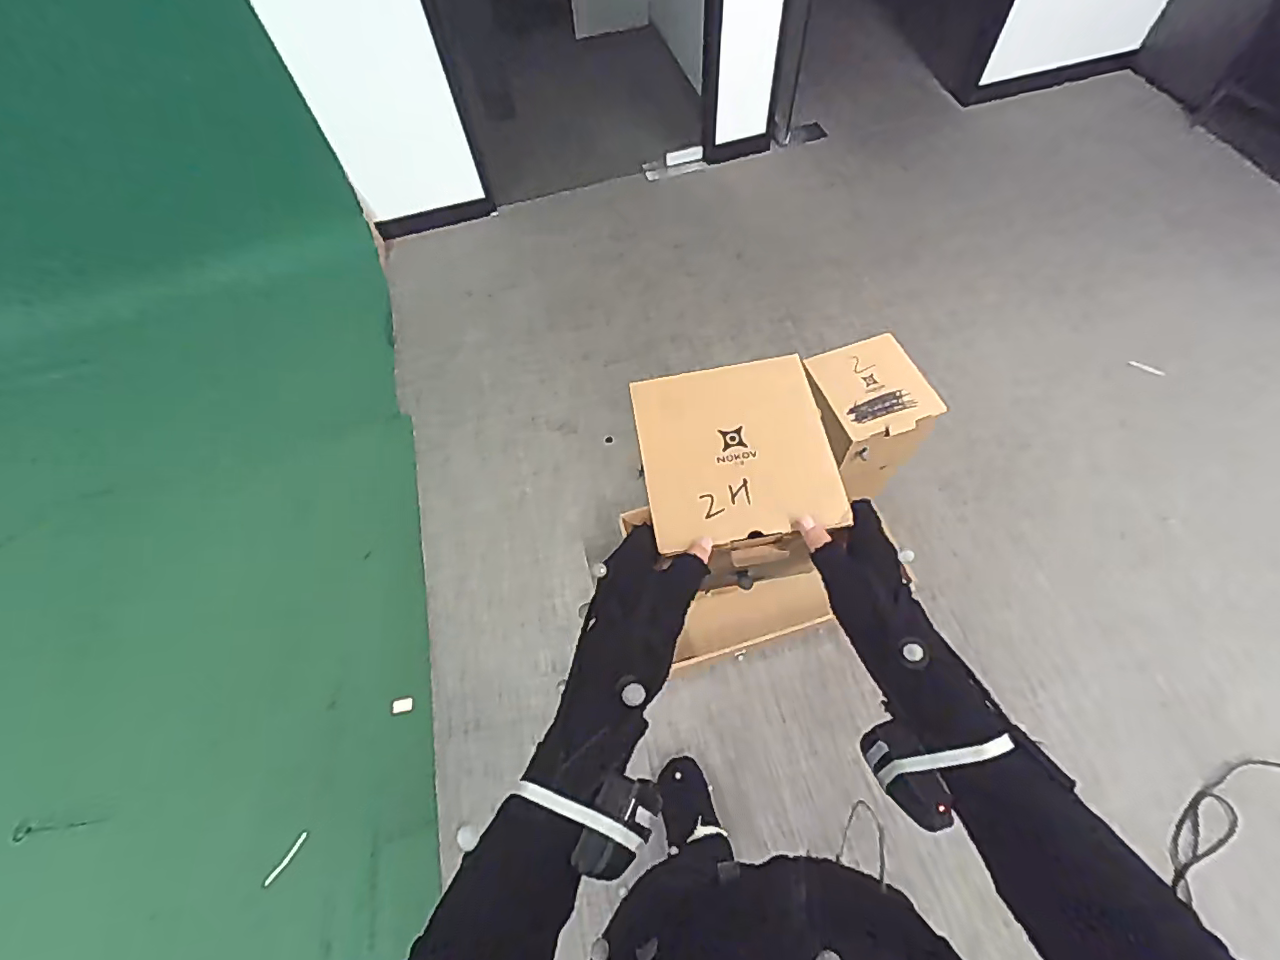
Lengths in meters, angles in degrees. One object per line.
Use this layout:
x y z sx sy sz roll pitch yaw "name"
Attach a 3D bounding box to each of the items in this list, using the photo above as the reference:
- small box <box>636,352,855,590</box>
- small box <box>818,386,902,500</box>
0.092 0.000 0.553 0.168 0.176 0.179 -10 67 1 "small box"
0.388 -0.056 1.093 0.168 0.176 0.179 -16 62 -4 "small box"
